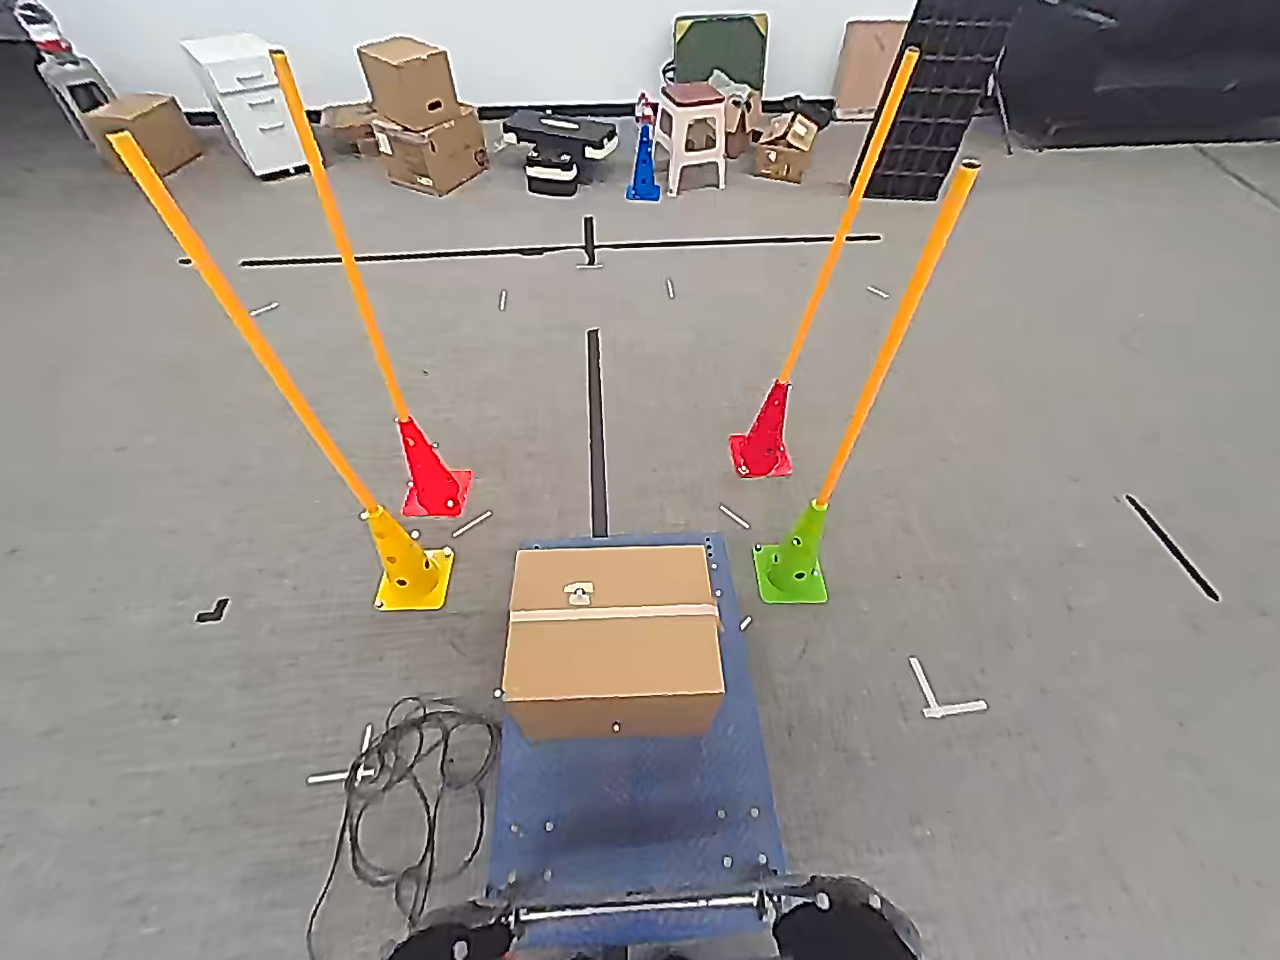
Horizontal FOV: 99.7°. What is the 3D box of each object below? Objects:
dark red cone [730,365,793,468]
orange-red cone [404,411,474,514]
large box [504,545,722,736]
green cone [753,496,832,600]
[{"bbox_3d":[0.444,-0.219,1.819,0.201,0.394,0.202,-2,52,-5],"label":"dark red cone"},{"bbox_3d":[-0.675,-0.078,1.707,0.198,0.360,0.199,3,50,0],"label":"orange-red cone"},{"bbox_3d":[-0.054,0.359,1.186,0.408,0.320,0.320,-1,52,-1],"label":"large box"},{"bbox_3d":[0.463,0.171,1.530,0.202,0.368,0.200,1,51,-2],"label":"green cone"}]
